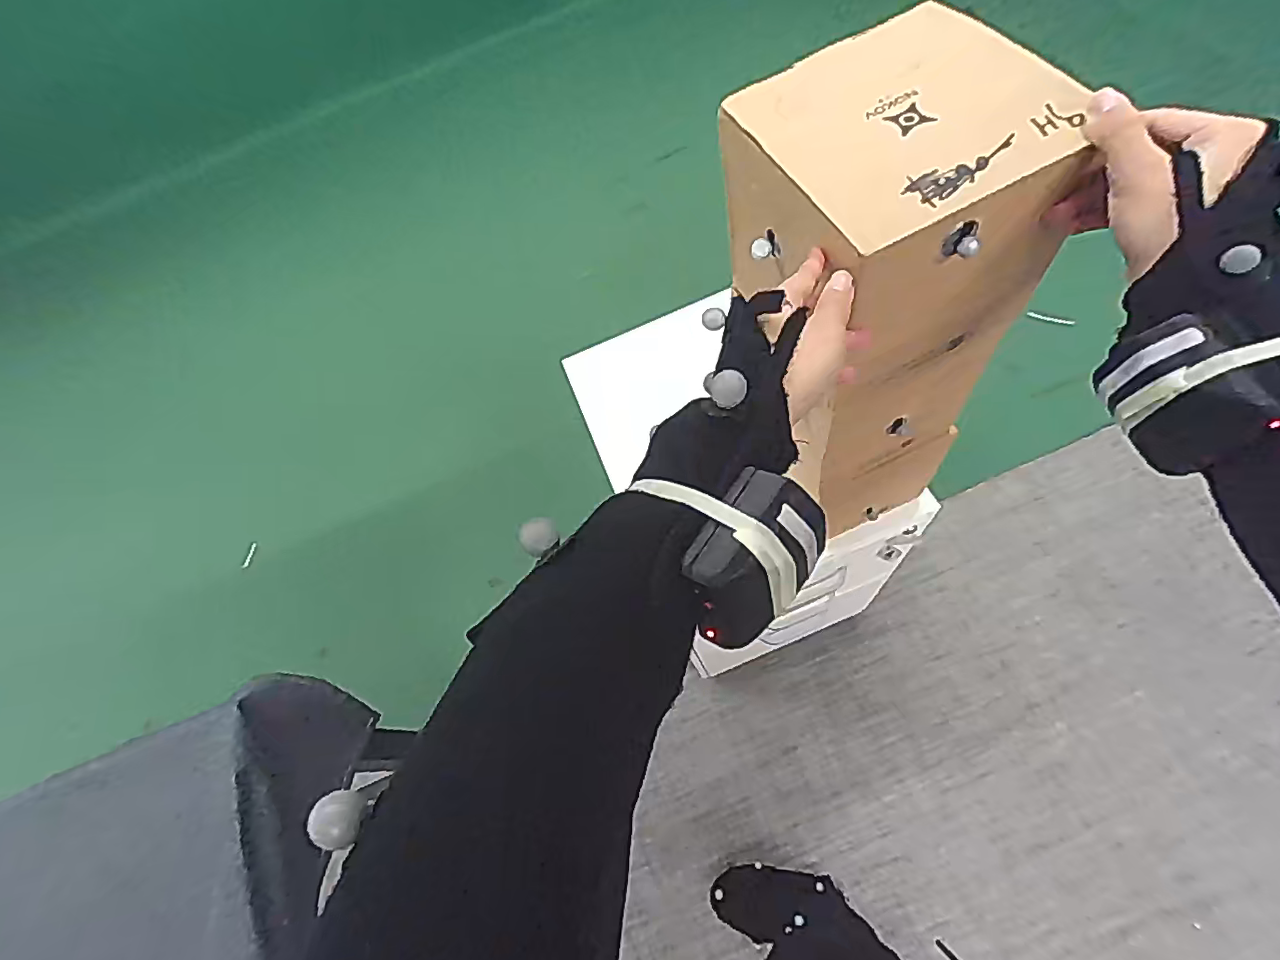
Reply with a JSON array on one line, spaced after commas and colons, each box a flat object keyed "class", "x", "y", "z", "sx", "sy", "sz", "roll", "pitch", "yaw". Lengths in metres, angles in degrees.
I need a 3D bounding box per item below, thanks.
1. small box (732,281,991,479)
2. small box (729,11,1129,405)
[{"class": "small box", "x": 0.210, "y": -0.122, "z": 0.552, "sx": 0.168, "sy": 0.176, "sz": 0.179, "roll": -26, "pitch": 61, "yaw": -3}, {"class": "small box", "x": 0.179, "y": -0.190, "z": 0.404, "sx": 0.168, "sy": 0.176, "sz": 0.179, "roll": -25, "pitch": 62, "yaw": 0}]
